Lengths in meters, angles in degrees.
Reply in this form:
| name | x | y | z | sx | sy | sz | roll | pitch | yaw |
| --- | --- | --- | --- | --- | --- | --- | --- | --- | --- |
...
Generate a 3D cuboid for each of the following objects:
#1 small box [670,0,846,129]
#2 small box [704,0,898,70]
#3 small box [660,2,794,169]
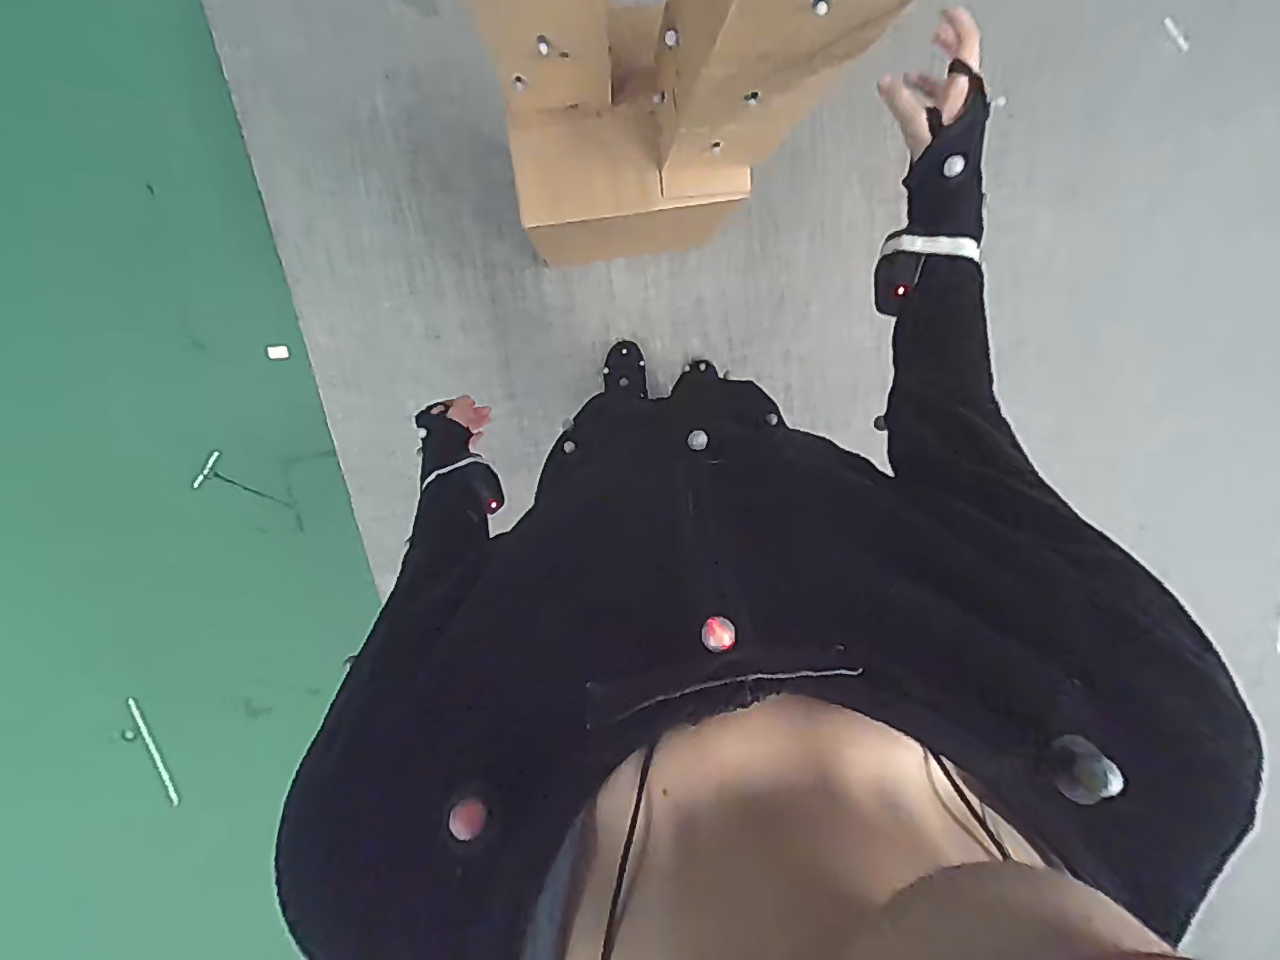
| name | x | y | z | sx | sy | sz | roll | pitch | yaw |
| --- | --- | --- | --- | --- | --- | --- | --- | --- | --- |
| small box | 0.138 | -0.561 | 0.669 | 0.179 | 0.176 | 0.168 | -6 | 103 | -3 |
| small box | 0.158 | -0.522 | 0.512 | 0.179 | 0.176 | 0.168 | -3 | 104 | -5 |
| small box | 0.124 | -0.596 | 0.829 | 0.179 | 0.176 | 0.168 | -6 | 105 | -2 |
